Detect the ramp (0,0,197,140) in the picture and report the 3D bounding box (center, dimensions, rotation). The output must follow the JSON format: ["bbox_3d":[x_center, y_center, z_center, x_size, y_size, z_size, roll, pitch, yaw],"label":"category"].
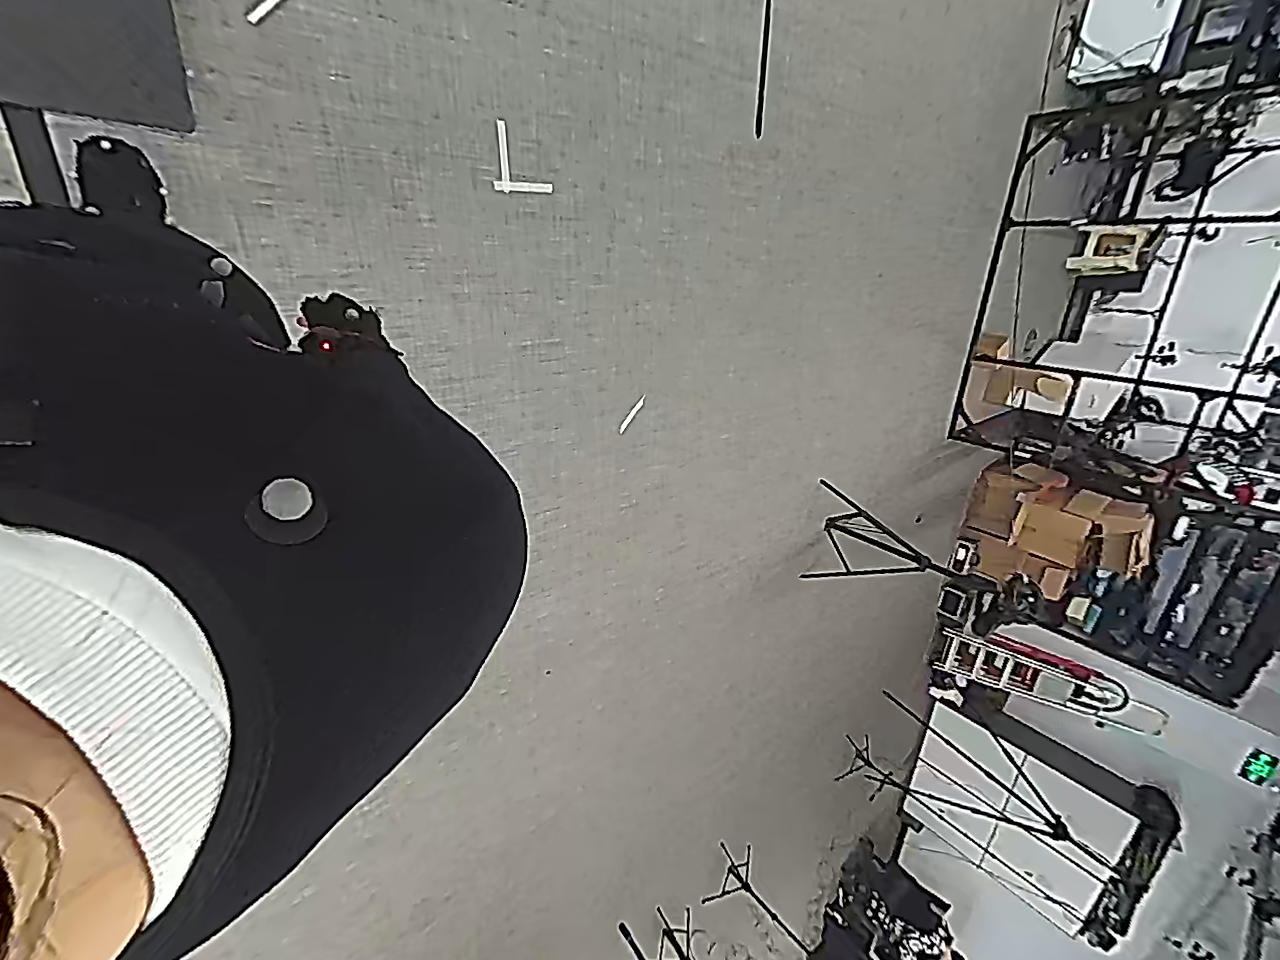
[{"bbox_3d":[-0.957,-1.025,0.649,0.509,0.206,0.991,-18,119,-37],"label":"ramp"}]
